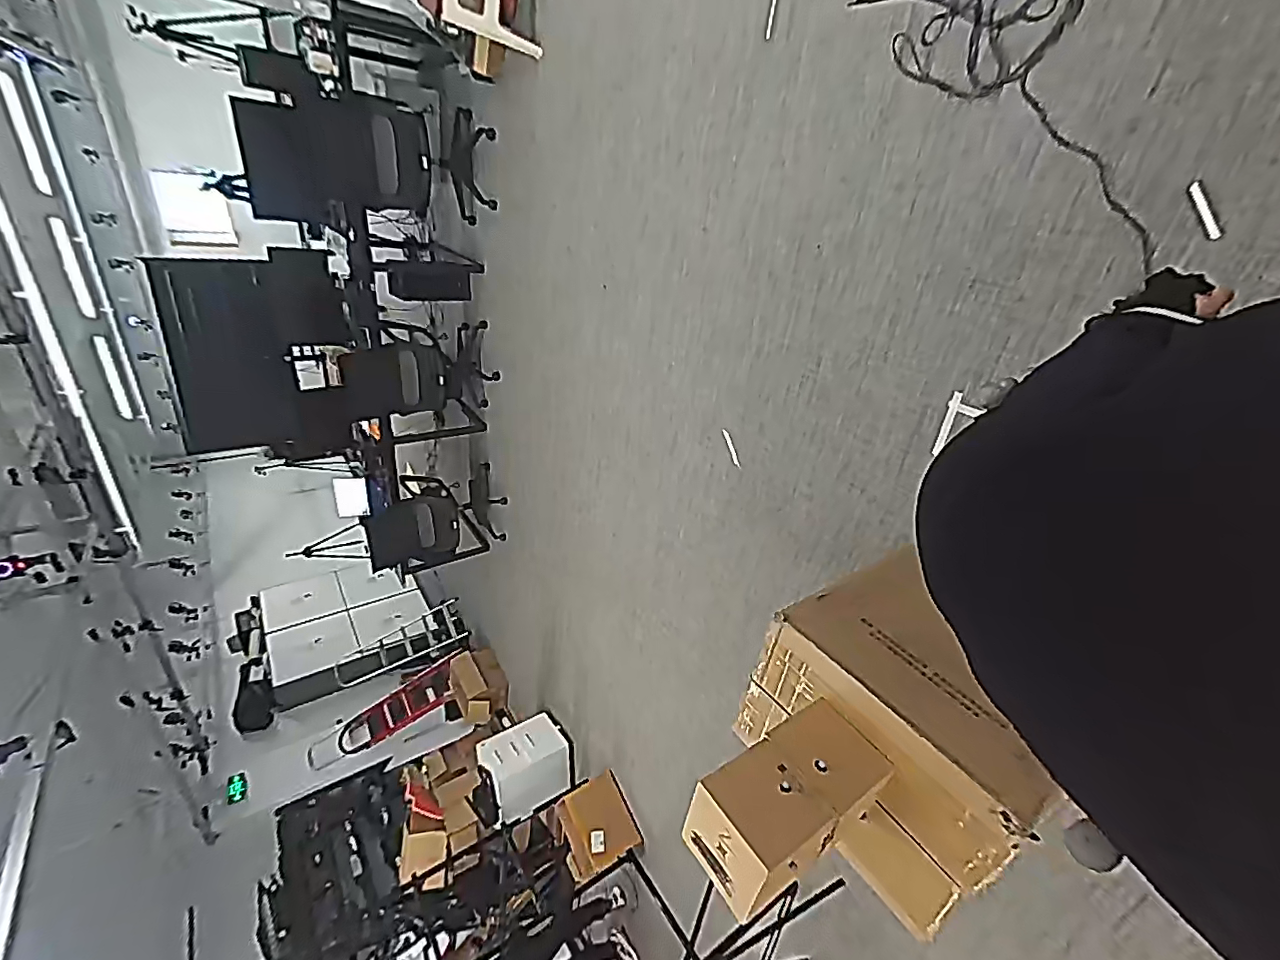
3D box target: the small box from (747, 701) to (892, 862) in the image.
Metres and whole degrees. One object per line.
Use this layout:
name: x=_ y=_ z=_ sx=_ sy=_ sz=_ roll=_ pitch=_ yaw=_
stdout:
small box: x=0.337 y=0.557 z=1.023 sx=0.179 sy=0.176 sz=0.168 roll=41 pitch=133 yaw=43
